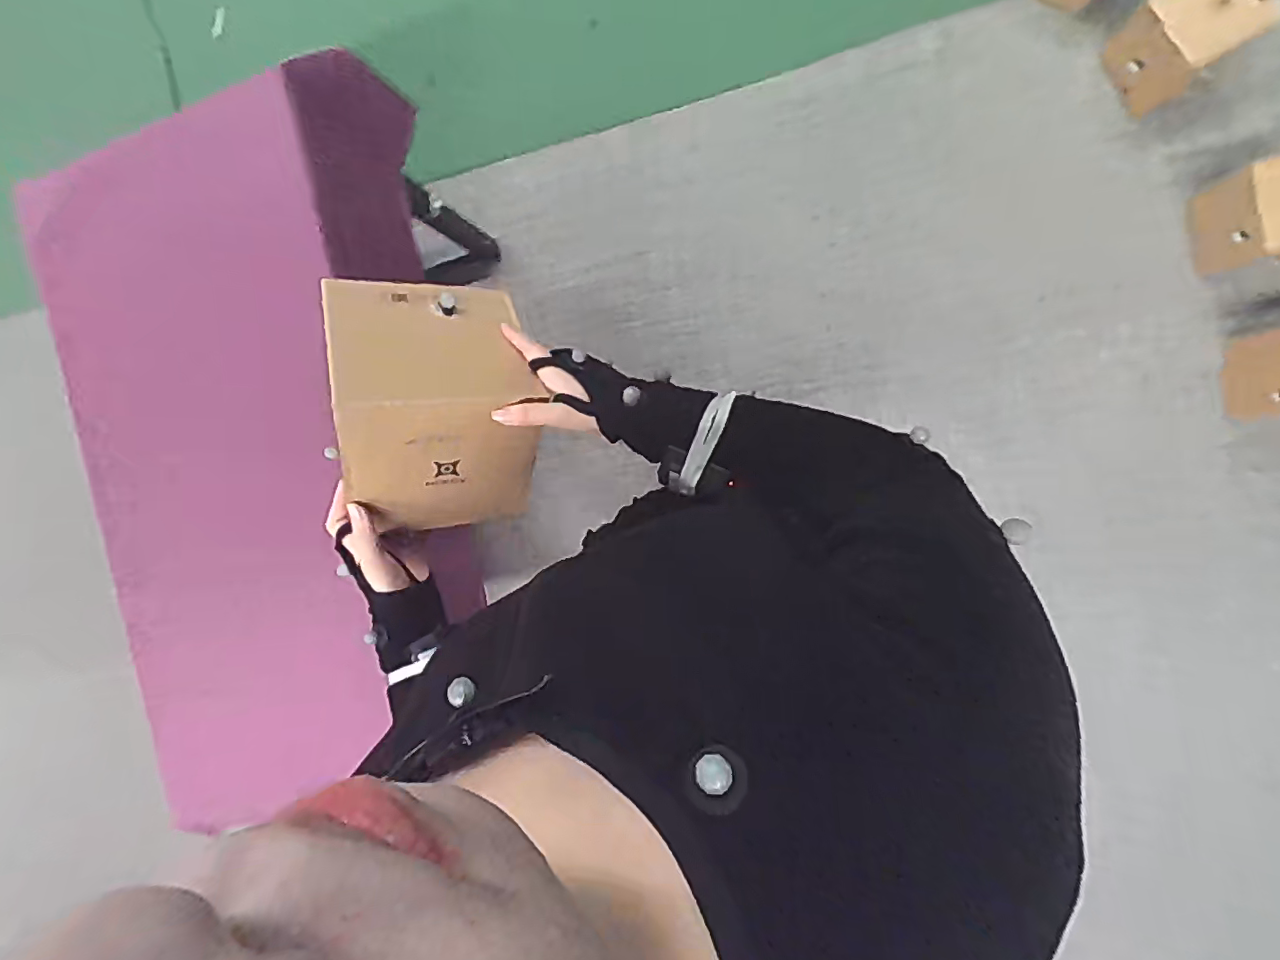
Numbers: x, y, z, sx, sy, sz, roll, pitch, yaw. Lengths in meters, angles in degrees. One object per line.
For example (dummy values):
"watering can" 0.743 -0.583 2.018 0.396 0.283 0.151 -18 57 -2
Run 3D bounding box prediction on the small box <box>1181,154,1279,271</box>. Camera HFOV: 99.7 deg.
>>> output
"small box" 1.267 -0.544 1.099 0.168 0.176 0.179 -11 92 13

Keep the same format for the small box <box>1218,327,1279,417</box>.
"small box" 1.348 -0.228 1.108 0.168 0.176 0.179 -5 94 13

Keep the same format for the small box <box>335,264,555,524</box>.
"small box" -0.198 -0.079 0.529 0.176 0.168 0.179 66 146 32

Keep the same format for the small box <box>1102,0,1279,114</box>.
"small box" 1.106 -0.908 1.109 0.179 0.176 0.168 -28 88 13
